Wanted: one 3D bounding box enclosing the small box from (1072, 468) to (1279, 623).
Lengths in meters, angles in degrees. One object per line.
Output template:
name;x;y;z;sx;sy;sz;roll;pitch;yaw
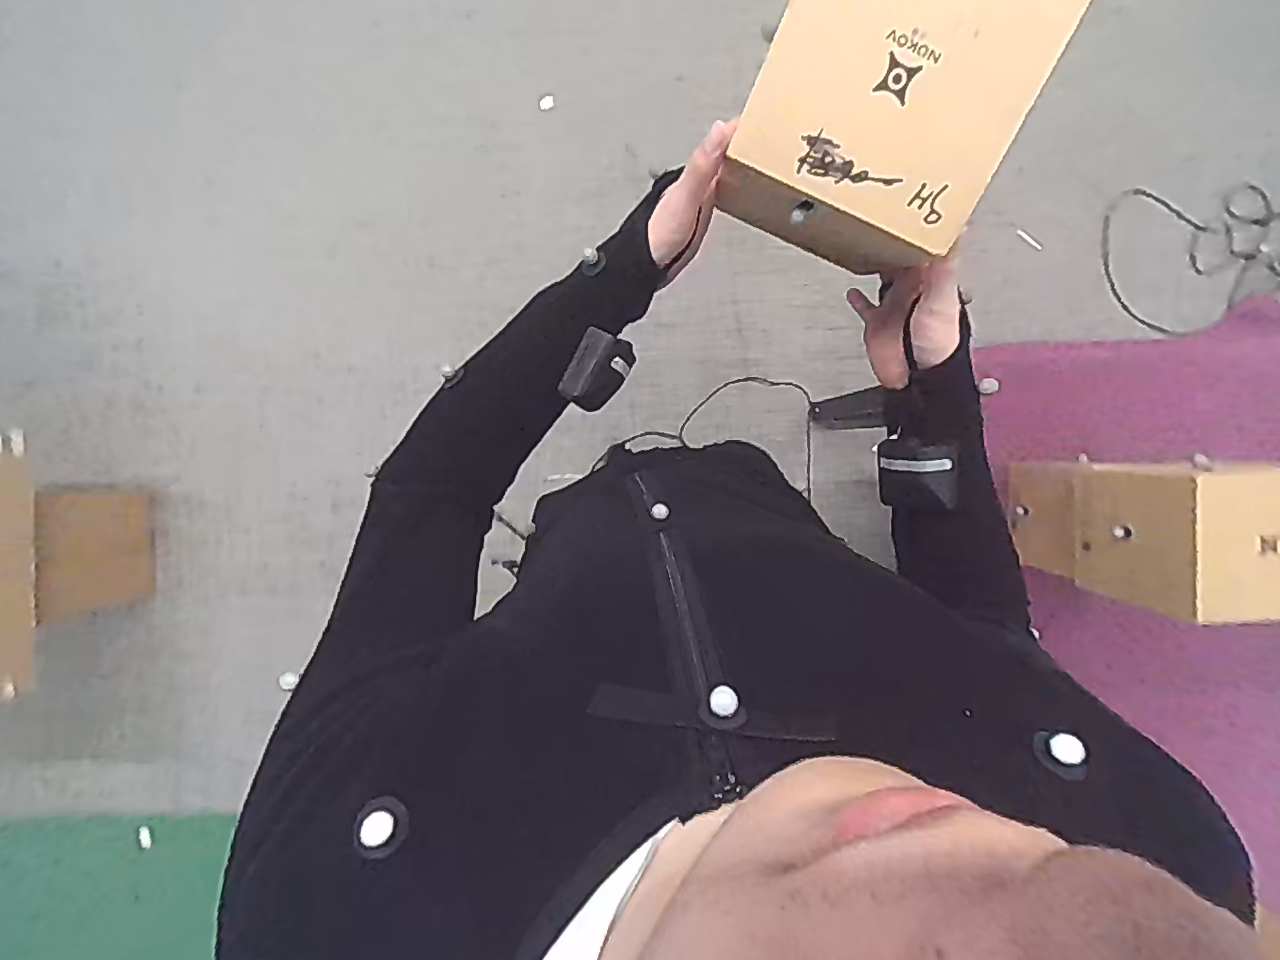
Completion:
small box;0.682;0.070;0.670;0.179;0.176;0.168;-2;93;0

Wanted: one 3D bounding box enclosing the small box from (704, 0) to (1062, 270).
small box;0.155;-0.282;0.413;0.168;0.176;0.179;23;106;-3
